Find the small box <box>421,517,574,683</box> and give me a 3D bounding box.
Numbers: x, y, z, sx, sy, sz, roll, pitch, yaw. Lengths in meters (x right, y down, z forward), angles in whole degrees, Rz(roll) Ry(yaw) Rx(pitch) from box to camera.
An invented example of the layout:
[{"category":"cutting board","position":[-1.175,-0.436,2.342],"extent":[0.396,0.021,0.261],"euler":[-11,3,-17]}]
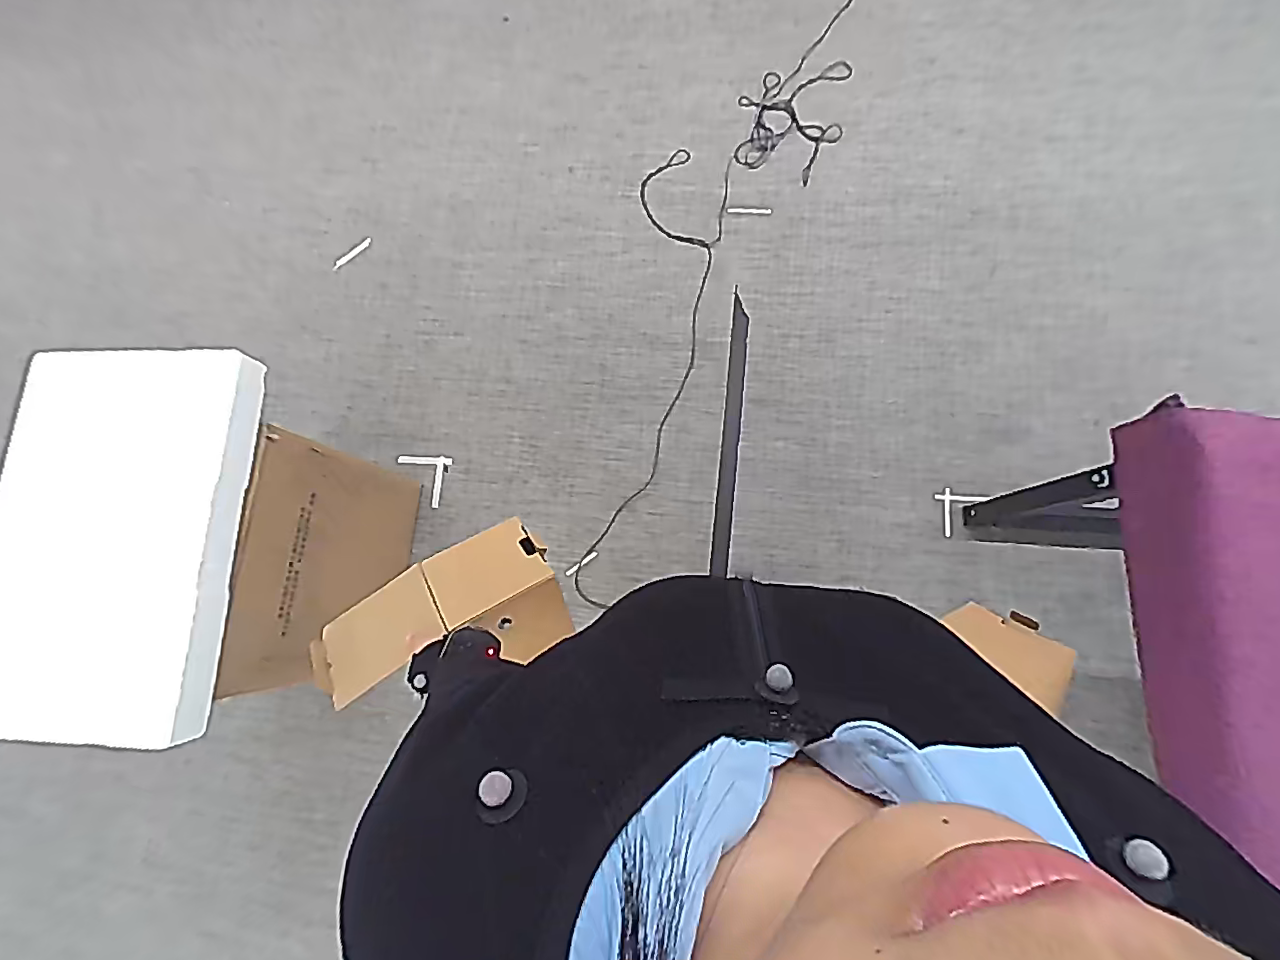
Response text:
[{"category":"small box","position":[-0.233,0.200,0.901],"extent":[0.179,0.176,0.168],"euler":[-27,44,-20]}]
